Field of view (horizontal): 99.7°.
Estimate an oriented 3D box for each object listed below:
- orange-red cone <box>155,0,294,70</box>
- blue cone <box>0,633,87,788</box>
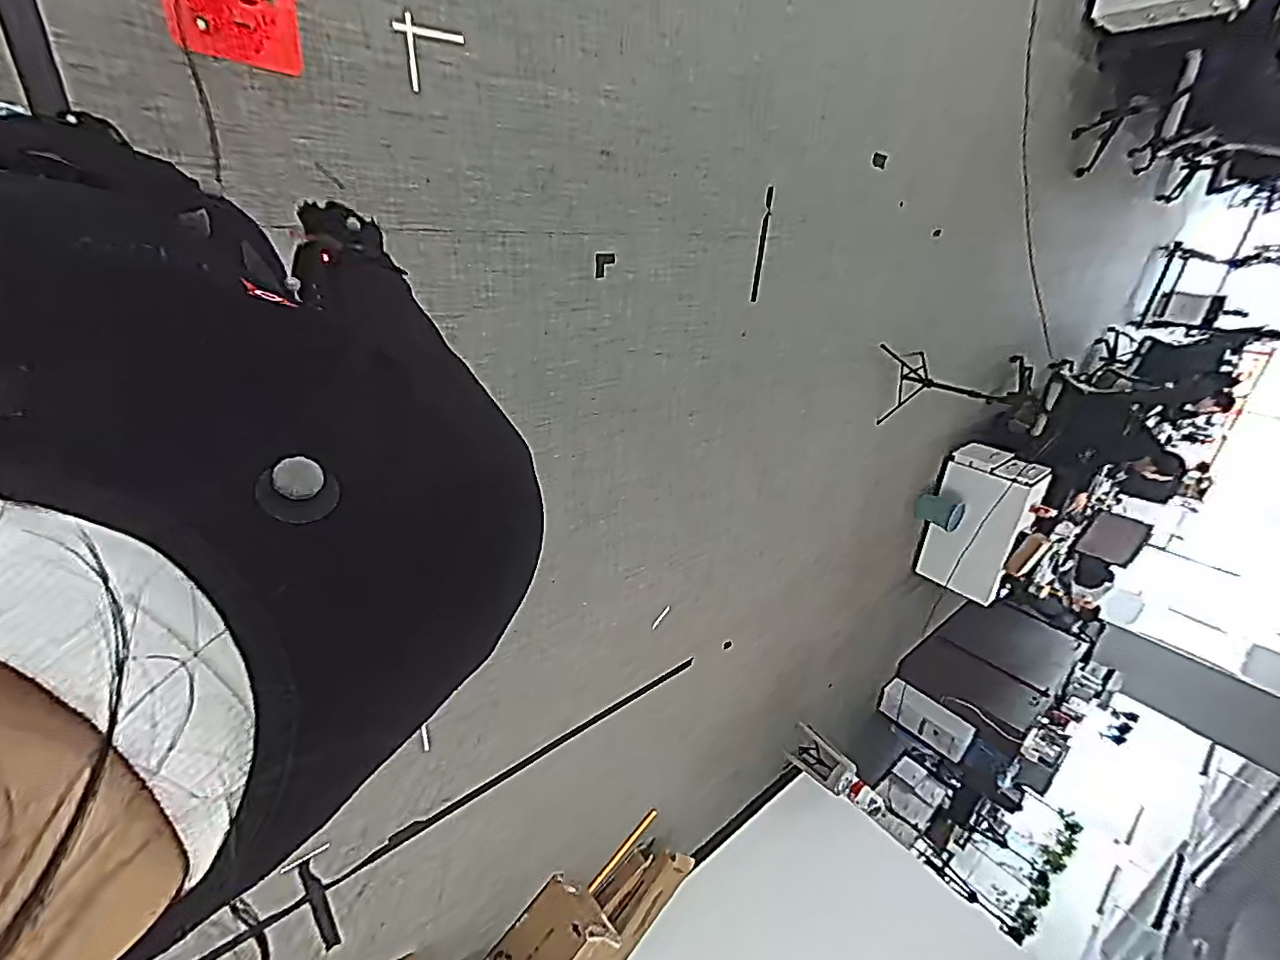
[{"bbox_3d":[-0.622,-0.797,0.835,0.199,0.360,0.198,-12,121,-39],"label":"orange-red cone"},{"bbox_3d":[-1.190,0.471,1.002,0.192,0.380,0.193,-12,118,-37],"label":"blue cone"}]
